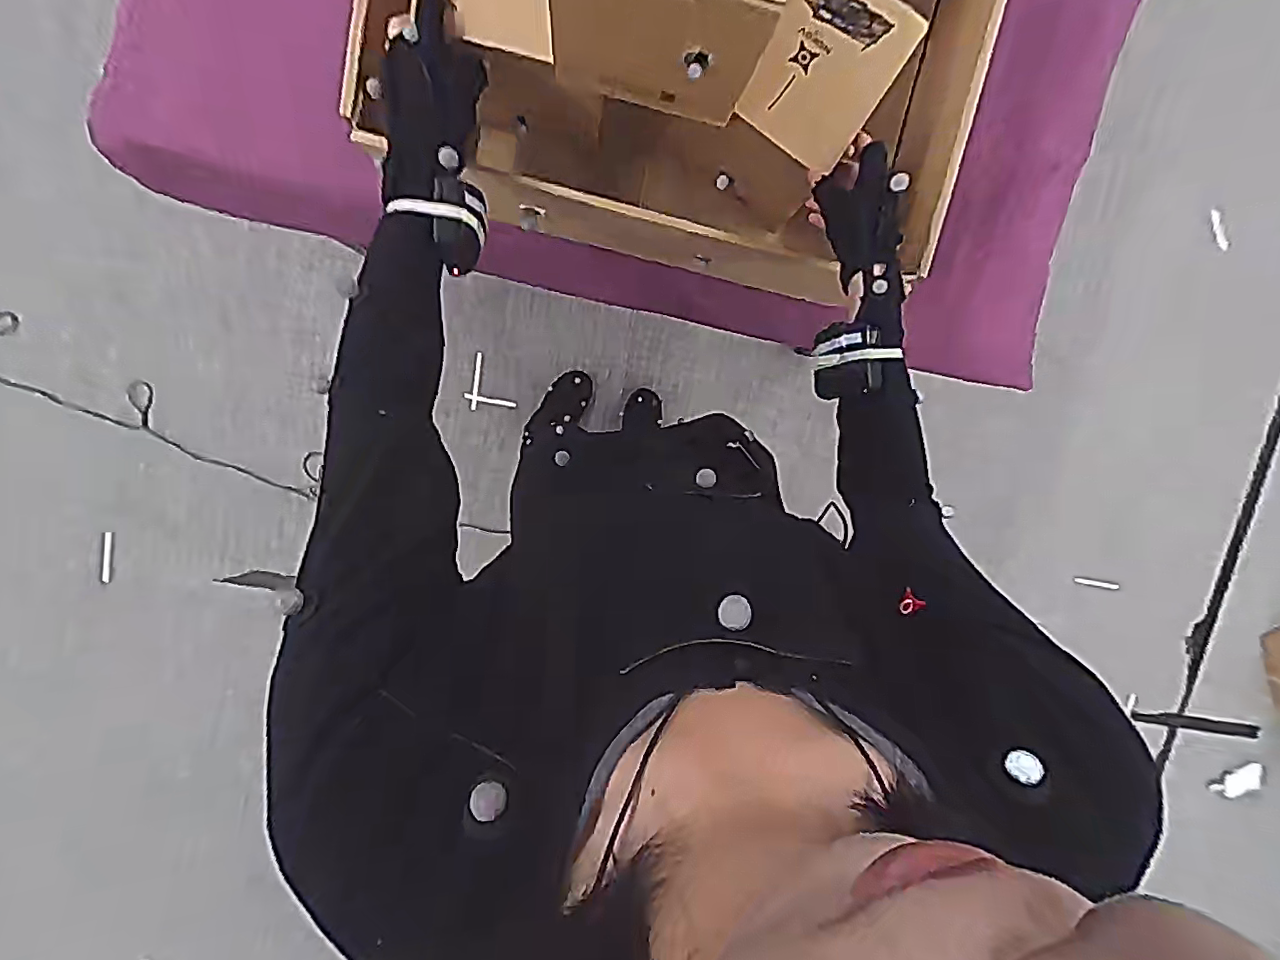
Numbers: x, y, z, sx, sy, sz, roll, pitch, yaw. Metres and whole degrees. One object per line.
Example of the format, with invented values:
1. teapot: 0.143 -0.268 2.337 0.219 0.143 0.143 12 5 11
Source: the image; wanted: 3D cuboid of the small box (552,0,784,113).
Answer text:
1. small box: 0.028 -0.424 0.410 0.168 0.176 0.179 10 97 -8
